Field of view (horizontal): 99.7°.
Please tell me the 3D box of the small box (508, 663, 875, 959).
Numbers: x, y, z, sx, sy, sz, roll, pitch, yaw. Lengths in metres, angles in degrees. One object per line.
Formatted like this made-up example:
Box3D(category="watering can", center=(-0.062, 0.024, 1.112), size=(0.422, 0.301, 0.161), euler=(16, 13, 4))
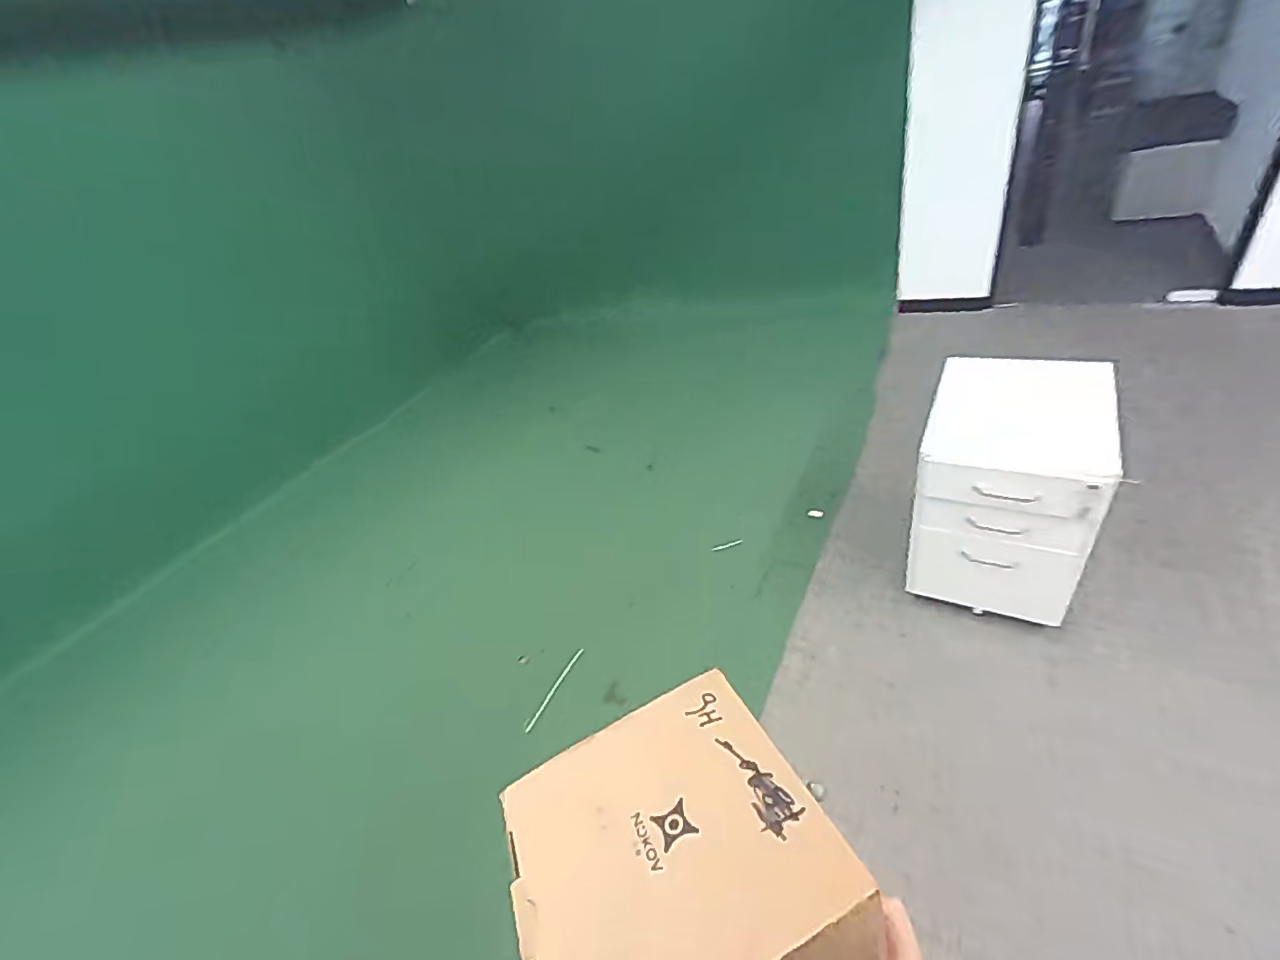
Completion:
Box3D(category="small box", center=(0.035, 0.270, 0.364), size=(0.179, 0.176, 0.168), euler=(-25, 31, -11))
